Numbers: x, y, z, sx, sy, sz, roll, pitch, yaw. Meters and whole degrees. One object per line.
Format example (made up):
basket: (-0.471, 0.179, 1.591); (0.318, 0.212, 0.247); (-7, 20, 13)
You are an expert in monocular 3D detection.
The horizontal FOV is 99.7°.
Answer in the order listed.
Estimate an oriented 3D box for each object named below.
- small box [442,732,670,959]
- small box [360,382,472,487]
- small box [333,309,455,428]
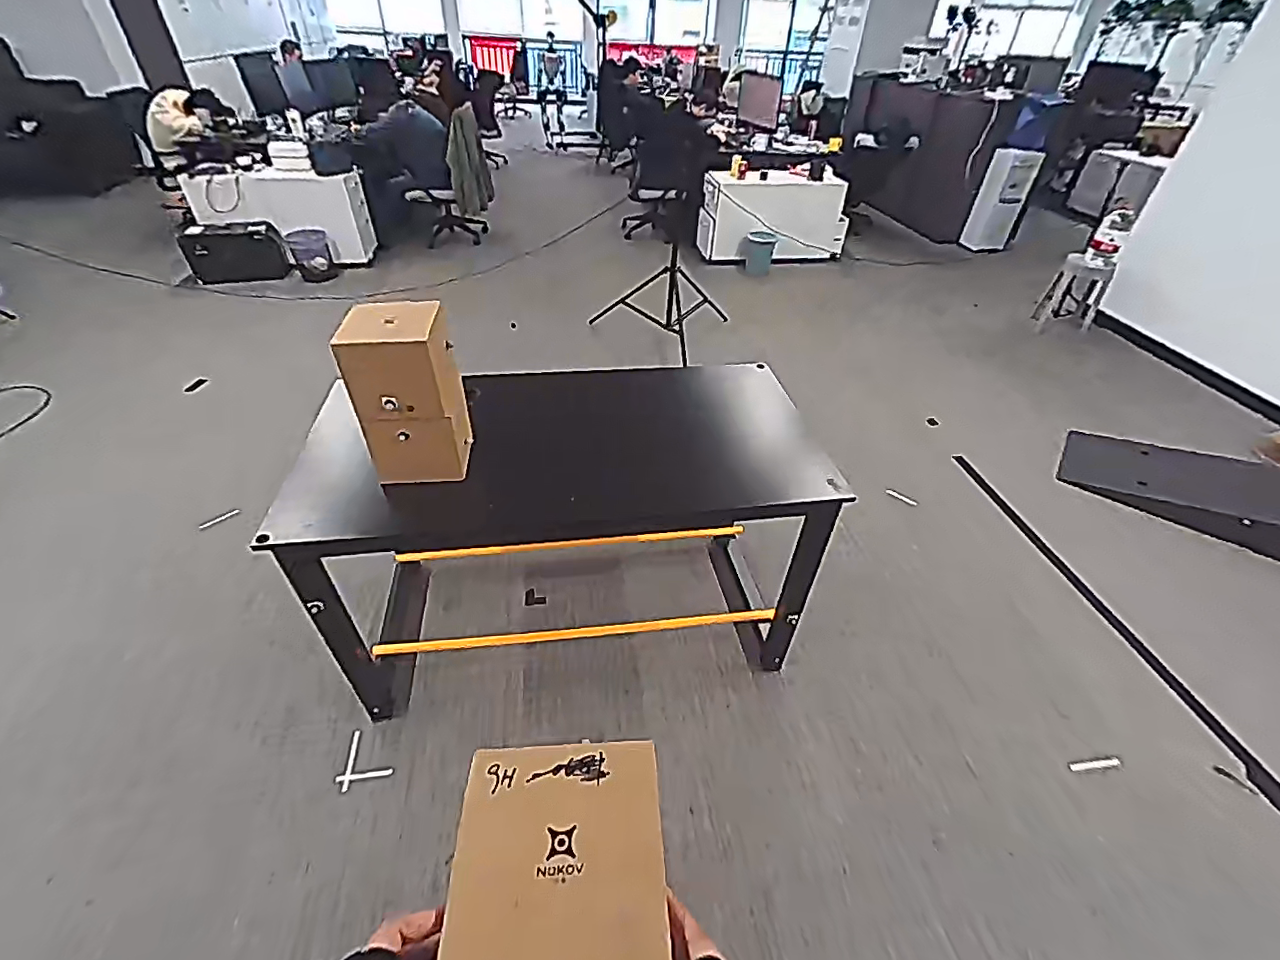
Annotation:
small box: (-0.063, 0.354, 0.484); (0.168, 0.176, 0.179); (-2, 39, -3)
small box: (-0.472, -0.098, 1.167); (0.179, 0.176, 0.168); (-2, 40, -8)
small box: (-0.468, -0.221, 1.062); (0.168, 0.176, 0.179); (-5, 41, -7)
